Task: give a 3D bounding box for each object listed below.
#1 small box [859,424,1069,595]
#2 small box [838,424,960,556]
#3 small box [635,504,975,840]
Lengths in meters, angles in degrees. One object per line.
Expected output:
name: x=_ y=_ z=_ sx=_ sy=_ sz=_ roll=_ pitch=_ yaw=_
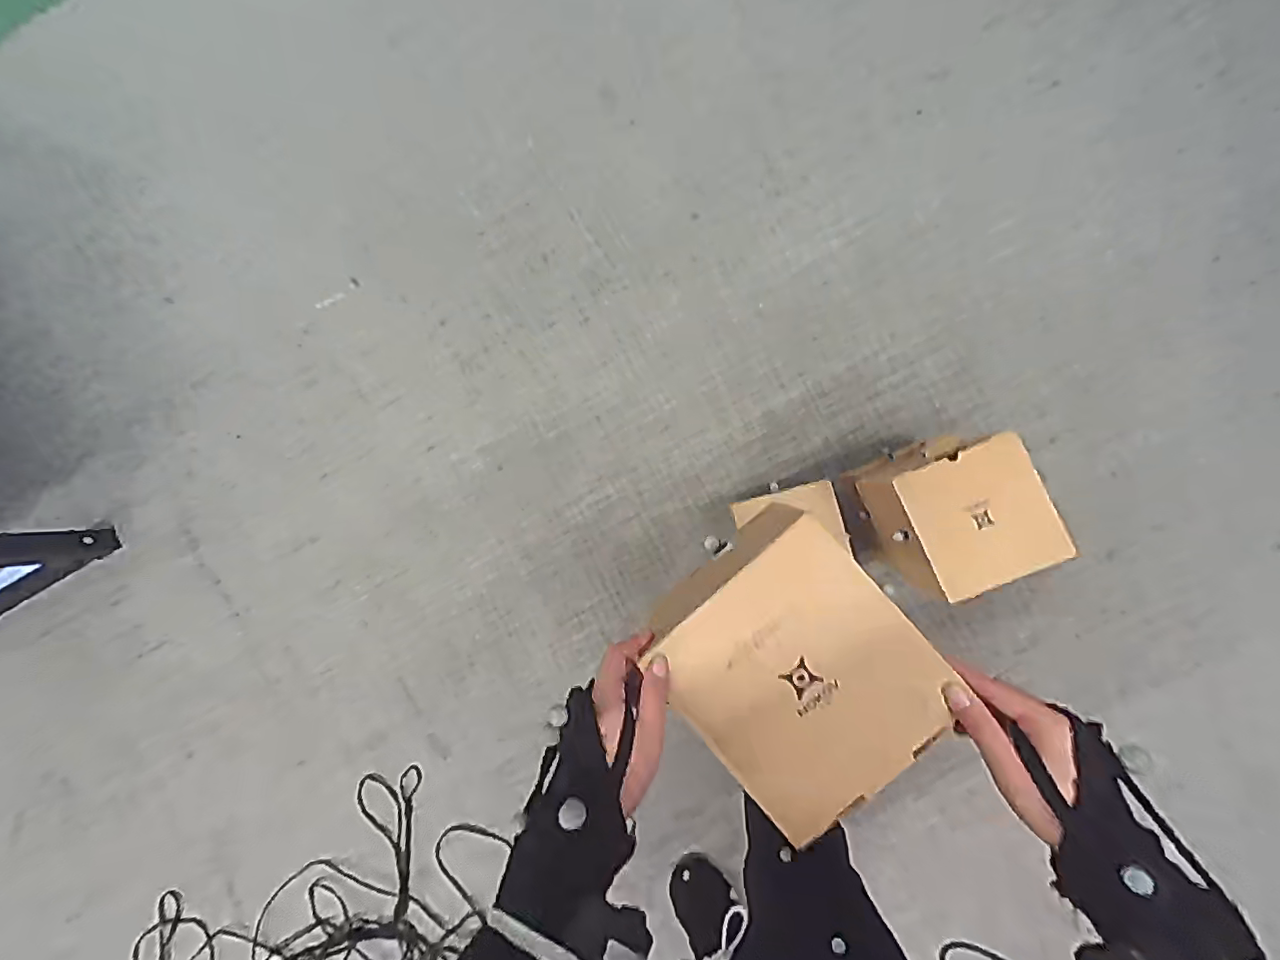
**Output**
small box: x=0.438 y=0.039 z=0.764 sx=0.168 sy=0.176 sz=0.179 roll=-24 pitch=85 yaw=6
small box: x=0.463 y=0.026 z=0.926 sx=0.168 sy=0.176 sz=0.179 roll=-24 pitch=85 yaw=6
small box: x=0.118 y=0.134 z=0.453 sx=0.168 sy=0.176 sz=0.179 roll=-43 pitch=87 yaw=3
